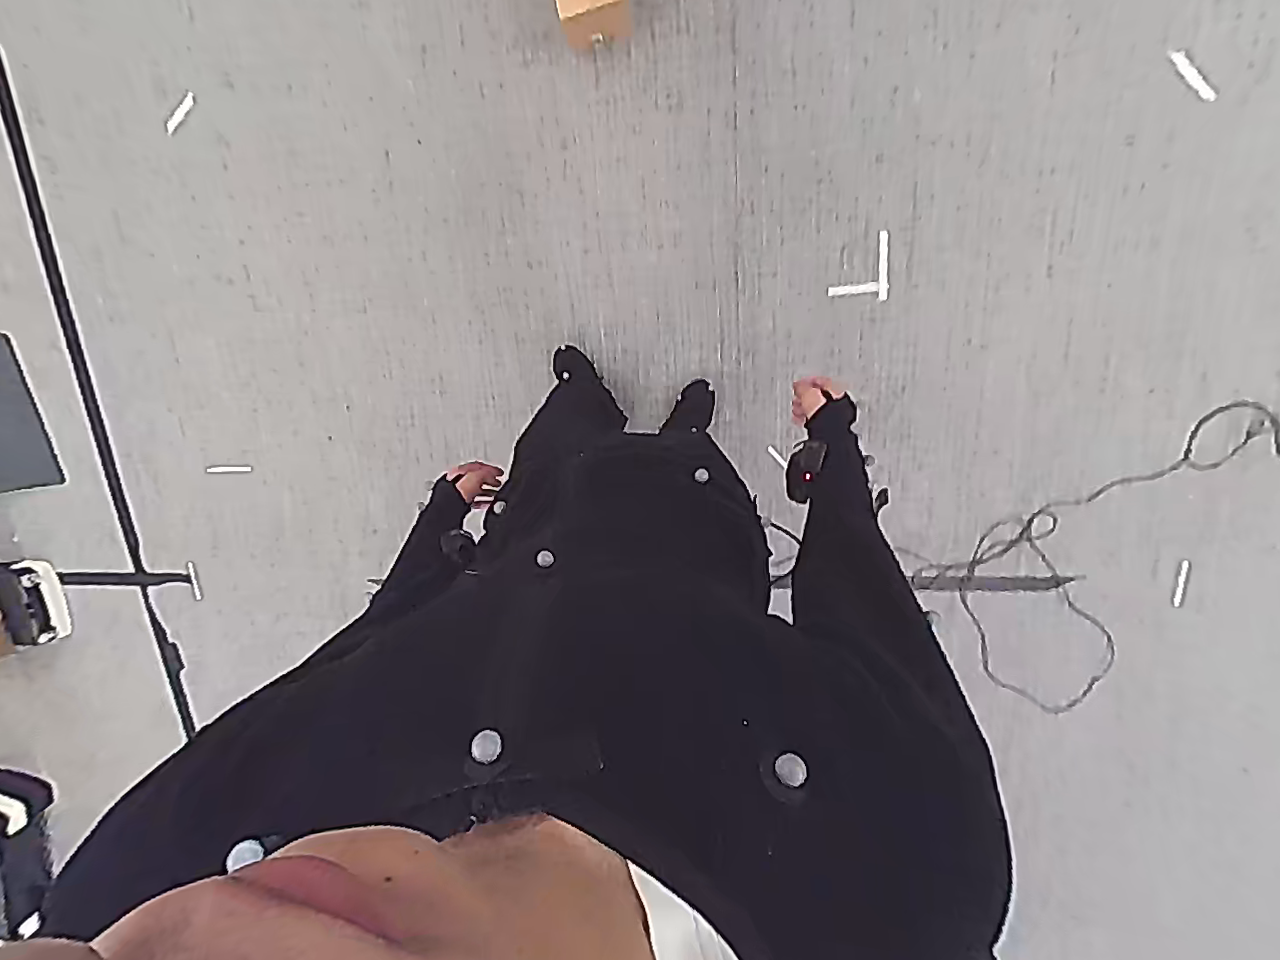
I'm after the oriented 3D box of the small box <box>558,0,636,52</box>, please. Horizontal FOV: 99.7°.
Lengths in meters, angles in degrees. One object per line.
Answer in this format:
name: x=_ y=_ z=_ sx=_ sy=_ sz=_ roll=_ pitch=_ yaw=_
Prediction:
small box: x=-0.112 y=-1.165 z=1.270 sx=0.168 sy=0.176 sz=0.179 roll=-12 pitch=103 yaw=9
